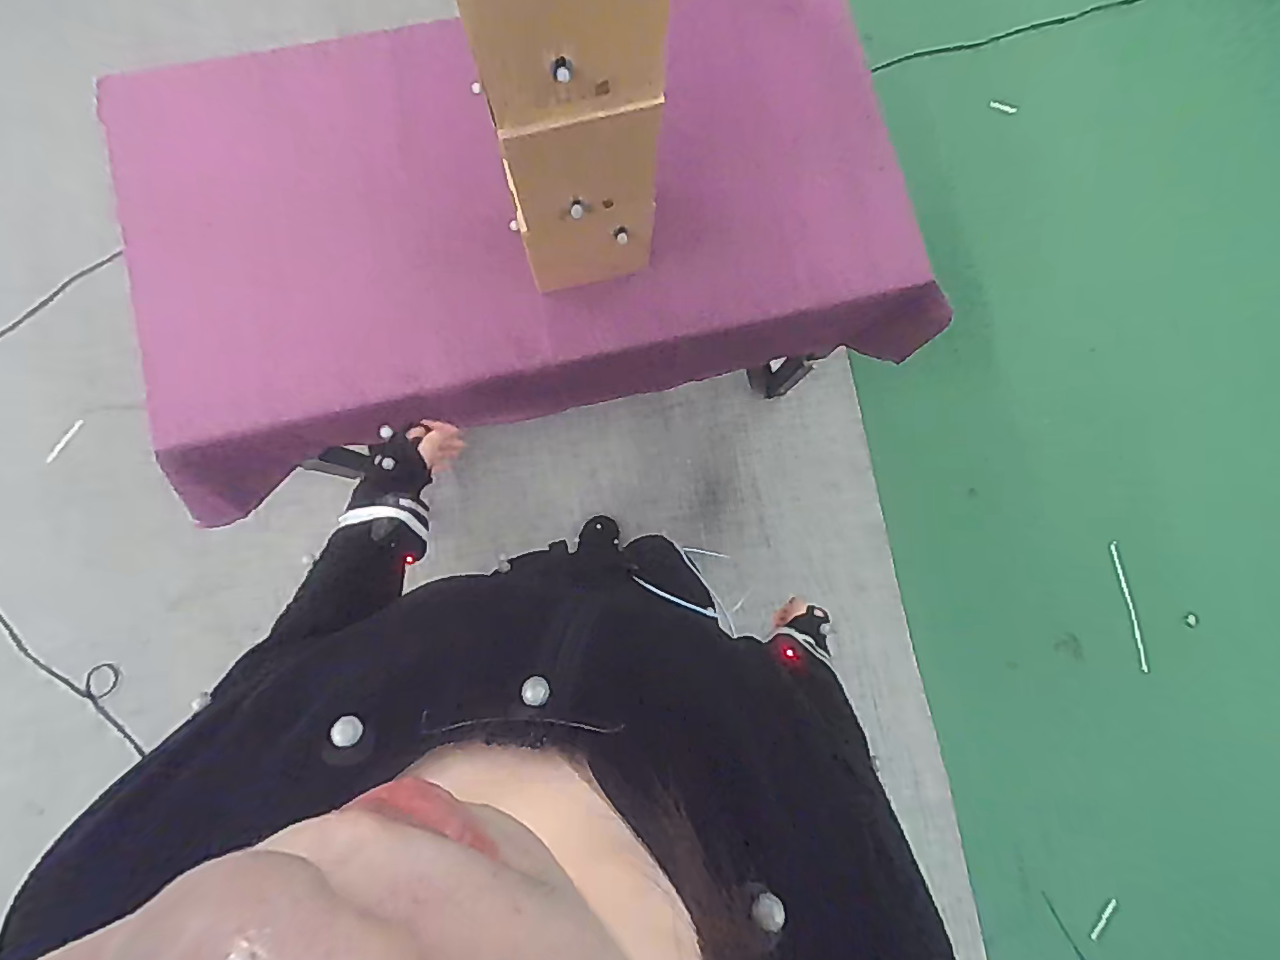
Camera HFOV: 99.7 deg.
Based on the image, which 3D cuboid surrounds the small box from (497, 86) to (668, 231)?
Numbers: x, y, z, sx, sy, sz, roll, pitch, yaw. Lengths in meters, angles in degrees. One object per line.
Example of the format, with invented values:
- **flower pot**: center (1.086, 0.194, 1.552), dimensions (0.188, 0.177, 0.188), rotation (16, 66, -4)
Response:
- **small box**: center (-0.074, -0.418, 0.606), dimensions (0.168, 0.176, 0.179), rotation (-14, 85, -3)

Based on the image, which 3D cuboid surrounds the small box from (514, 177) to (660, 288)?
- **small box**: center (-0.080, -0.398, 0.768), dimensions (0.179, 0.176, 0.168), rotation (-13, 84, -4)

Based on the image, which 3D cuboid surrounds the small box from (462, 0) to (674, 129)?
- **small box**: center (-0.073, -0.441, 0.445), dimensions (0.168, 0.176, 0.179), rotation (-16, 85, -3)
